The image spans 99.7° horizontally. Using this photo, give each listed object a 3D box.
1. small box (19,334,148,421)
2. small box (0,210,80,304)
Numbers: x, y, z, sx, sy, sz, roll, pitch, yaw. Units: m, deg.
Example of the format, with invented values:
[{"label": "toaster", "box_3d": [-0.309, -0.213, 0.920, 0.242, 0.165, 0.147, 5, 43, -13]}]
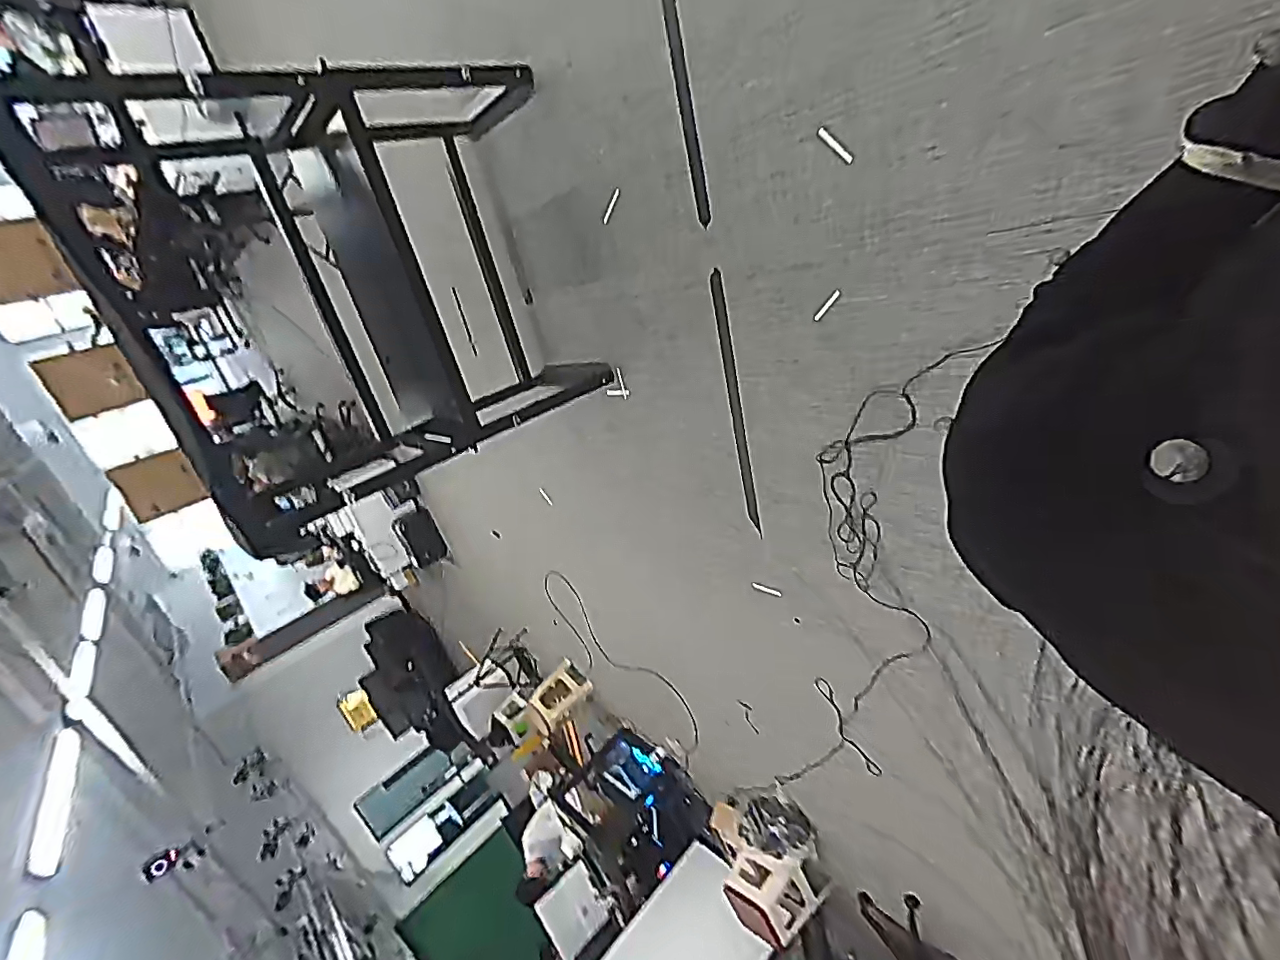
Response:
[{"label": "small box", "box_3d": [-1.386, -0.264, 1.362, 0.179, 0.176, 0.168, 16, 129, 45]}, {"label": "small box", "box_3d": [-1.459, -0.515, 1.254, 0.179, 0.176, 0.168, 15, 127, 46]}]
